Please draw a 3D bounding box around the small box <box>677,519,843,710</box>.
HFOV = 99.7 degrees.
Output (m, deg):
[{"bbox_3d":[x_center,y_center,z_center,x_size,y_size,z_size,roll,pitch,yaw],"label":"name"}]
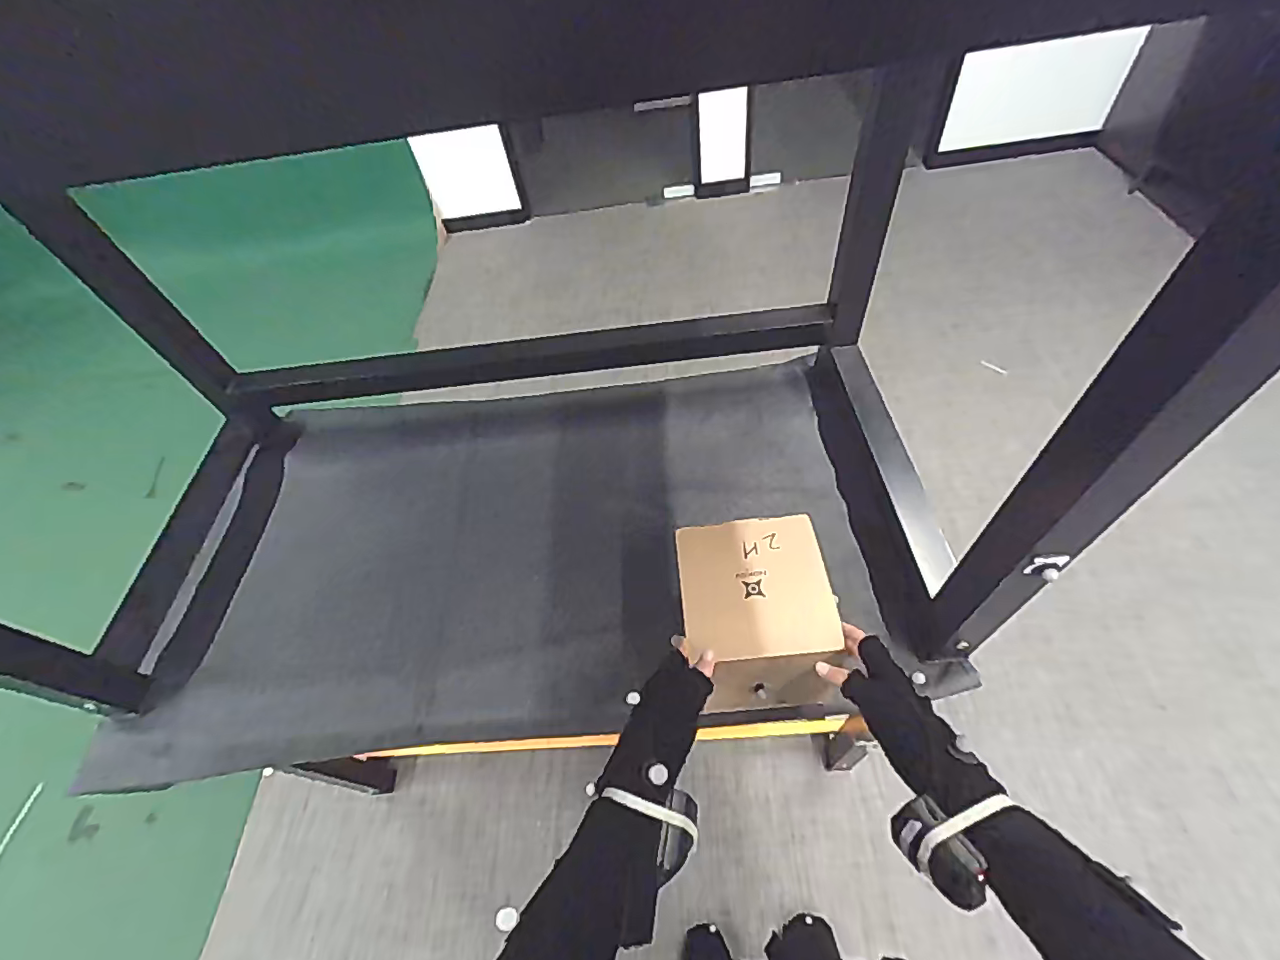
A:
[{"bbox_3d":[0.139,0.174,0.672,0.168,0.176,0.179,-6,49,4],"label":"small box"}]
